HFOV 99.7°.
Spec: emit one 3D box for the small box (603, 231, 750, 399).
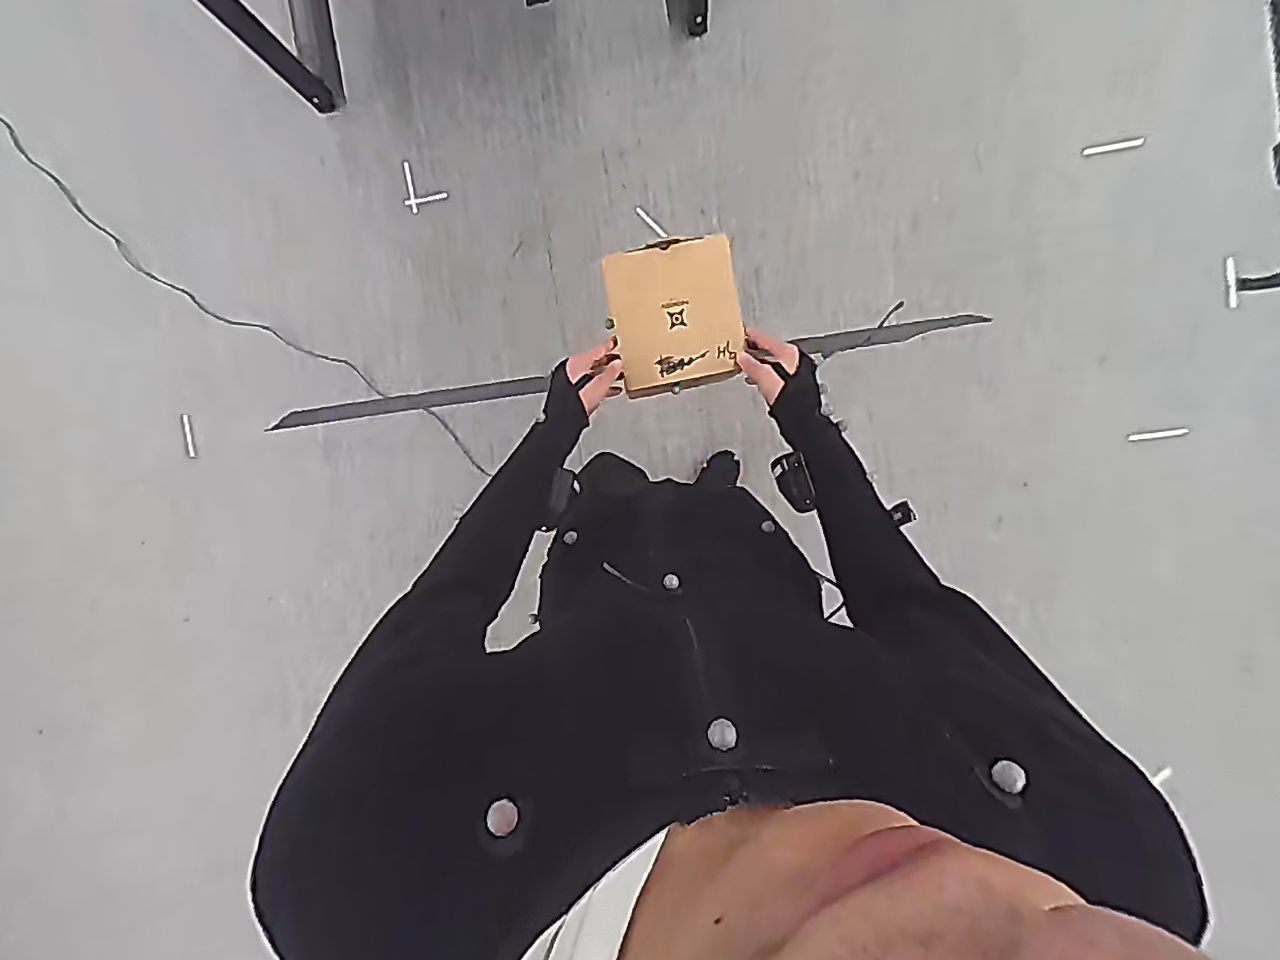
[{"bbox_3d":[0.045,-0.221,0.768,0.168,0.176,0.179,-11,94,1],"label":"small box"}]
